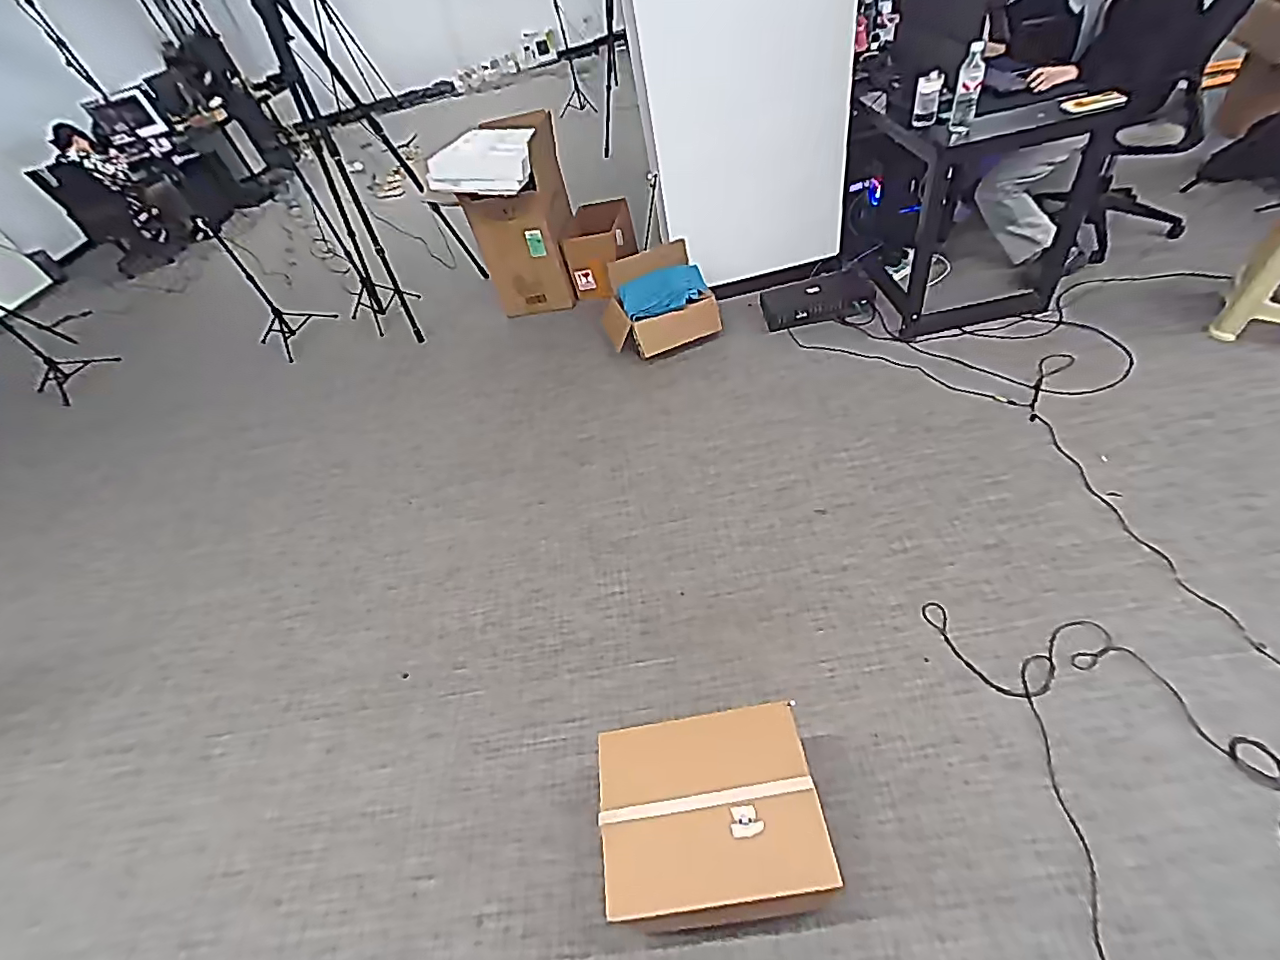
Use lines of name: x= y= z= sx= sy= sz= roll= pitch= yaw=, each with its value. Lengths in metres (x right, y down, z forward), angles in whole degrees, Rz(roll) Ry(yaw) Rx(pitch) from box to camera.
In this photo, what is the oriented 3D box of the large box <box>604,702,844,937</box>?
large box: x=0.160 y=0.707 z=1.120 sx=0.408 sy=0.320 sz=0.320 roll=-12 pitch=46 yaw=4
